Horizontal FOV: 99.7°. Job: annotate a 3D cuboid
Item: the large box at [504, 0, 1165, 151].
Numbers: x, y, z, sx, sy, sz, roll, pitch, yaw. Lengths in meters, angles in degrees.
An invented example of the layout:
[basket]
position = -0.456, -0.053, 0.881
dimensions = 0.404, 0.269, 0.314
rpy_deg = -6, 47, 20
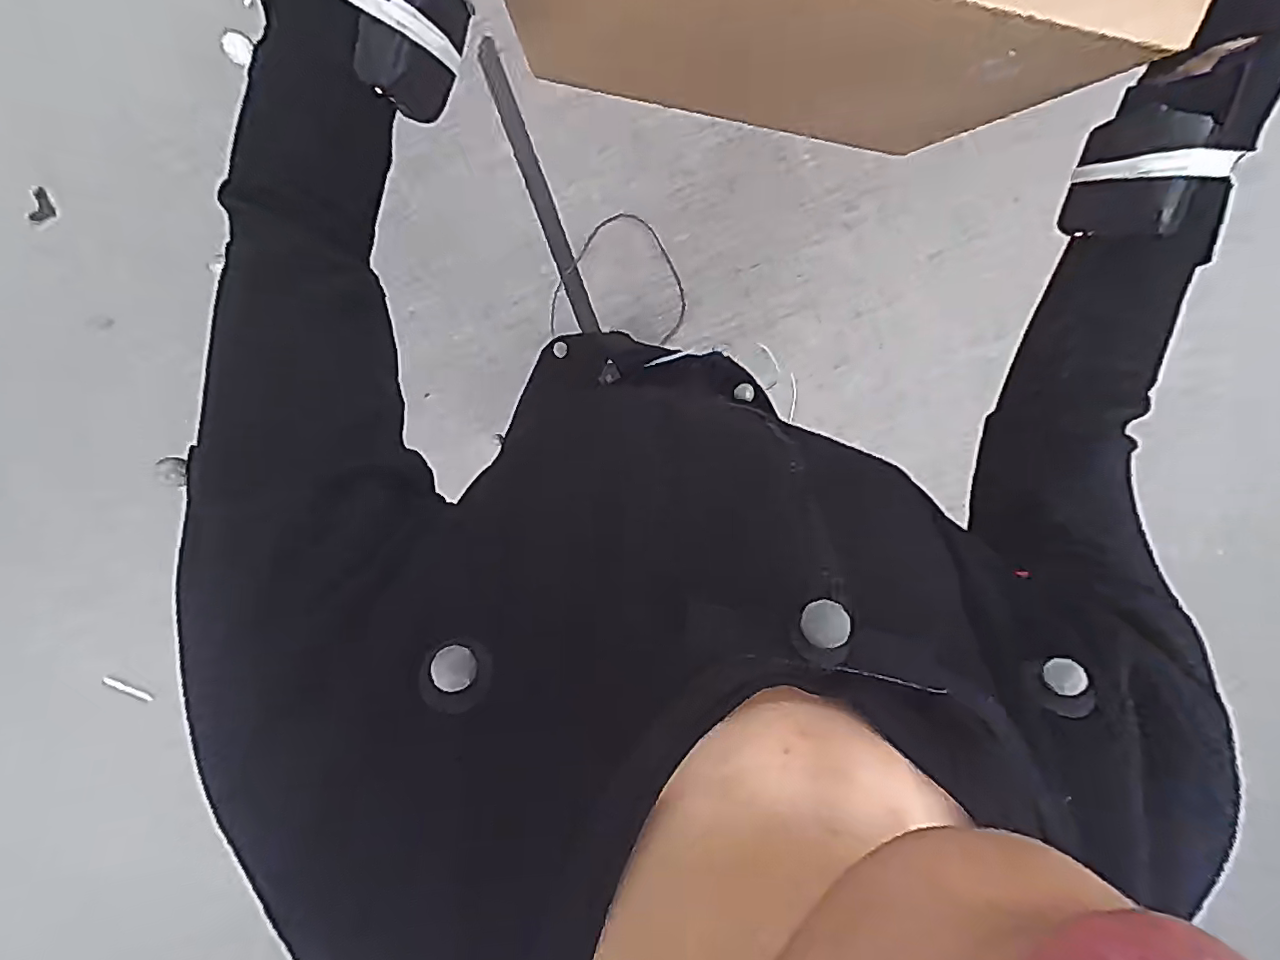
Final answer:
[large box]
position = 0.114, -0.468, 0.385
dimensions = 0.408, 0.320, 0.320
rpy_deg = 6, 111, -7
